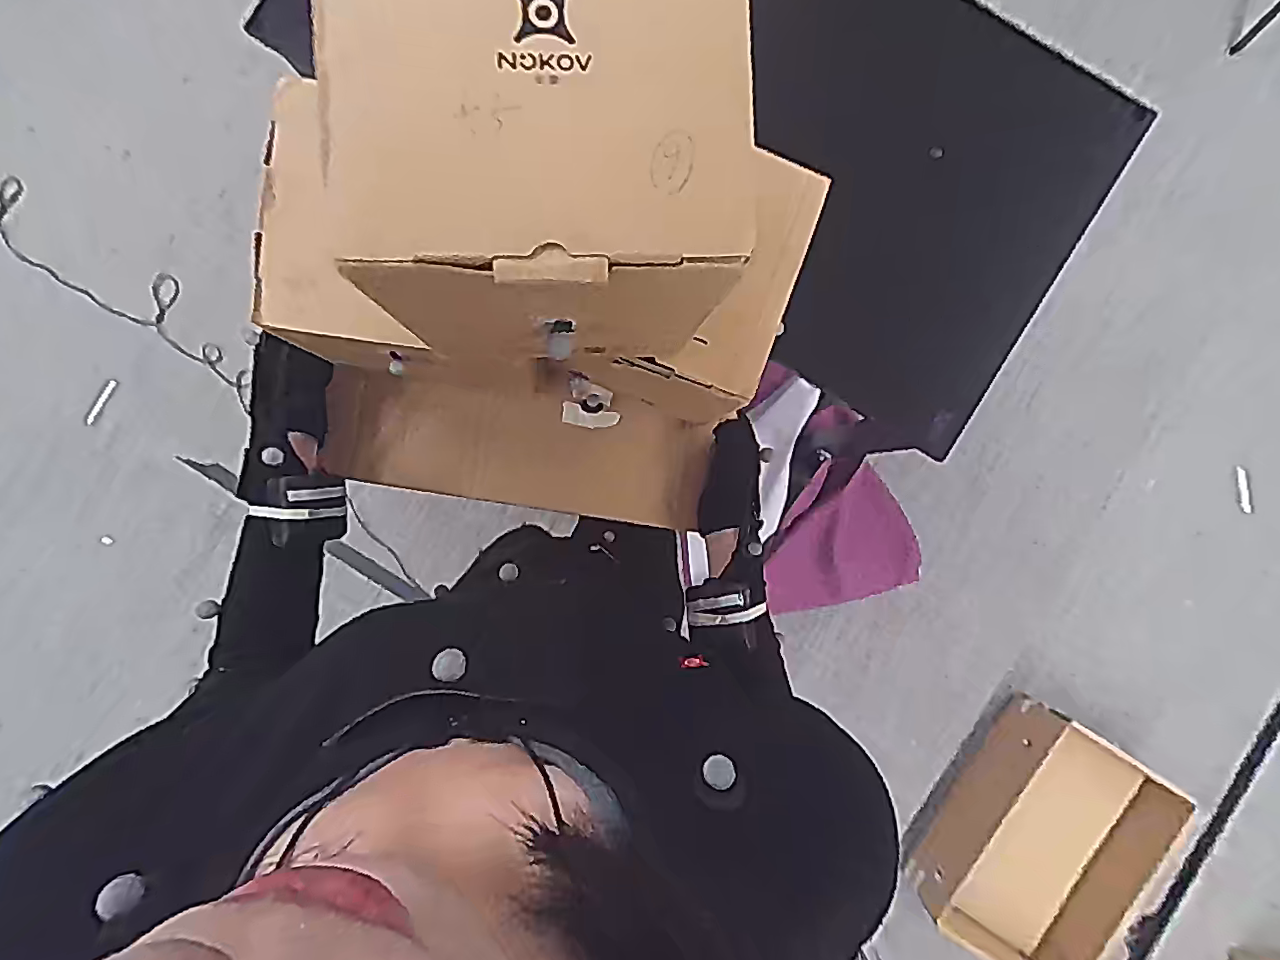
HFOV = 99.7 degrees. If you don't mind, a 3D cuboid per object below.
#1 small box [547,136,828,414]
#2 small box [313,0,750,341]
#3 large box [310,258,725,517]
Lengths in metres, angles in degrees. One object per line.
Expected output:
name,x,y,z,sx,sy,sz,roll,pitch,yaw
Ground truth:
small box,0.024,-0.168,0.457,0.168,0.176,0.179,21,87,-6
small box,-0.046,-0.175,0.285,0.168,0.176,0.179,-2,91,-7
large box,-0.123,-0.139,0.687,0.408,0.320,0.320,8,91,-7
